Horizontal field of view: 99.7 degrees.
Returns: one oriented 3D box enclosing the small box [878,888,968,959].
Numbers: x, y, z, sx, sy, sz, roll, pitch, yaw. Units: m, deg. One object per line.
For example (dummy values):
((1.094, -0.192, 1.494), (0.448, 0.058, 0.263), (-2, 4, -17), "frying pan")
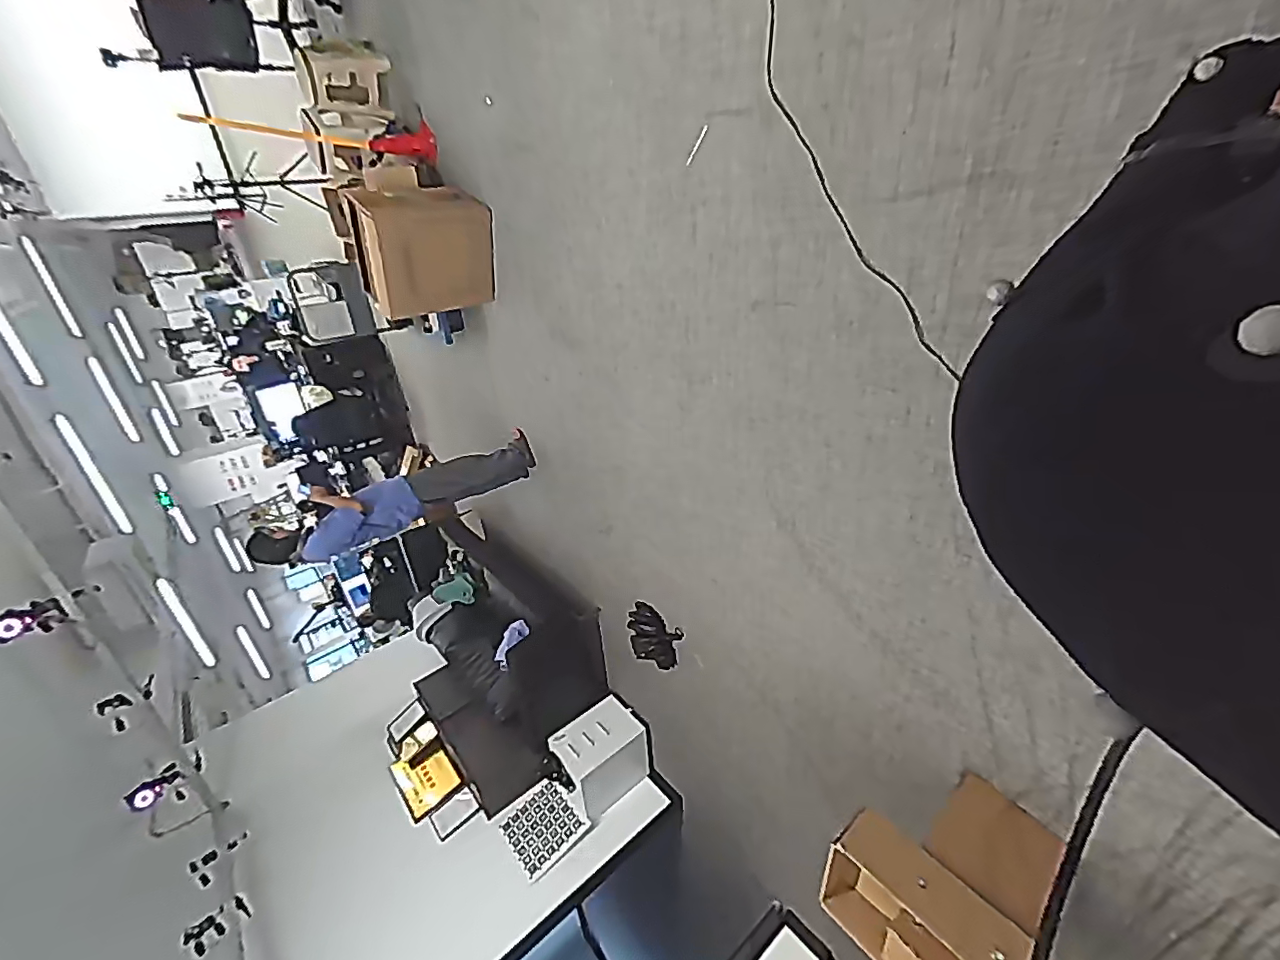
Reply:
((0.818, 1.339, 1.560), (0.168, 0.176, 0.179), (27, 133, 45), "small box")
